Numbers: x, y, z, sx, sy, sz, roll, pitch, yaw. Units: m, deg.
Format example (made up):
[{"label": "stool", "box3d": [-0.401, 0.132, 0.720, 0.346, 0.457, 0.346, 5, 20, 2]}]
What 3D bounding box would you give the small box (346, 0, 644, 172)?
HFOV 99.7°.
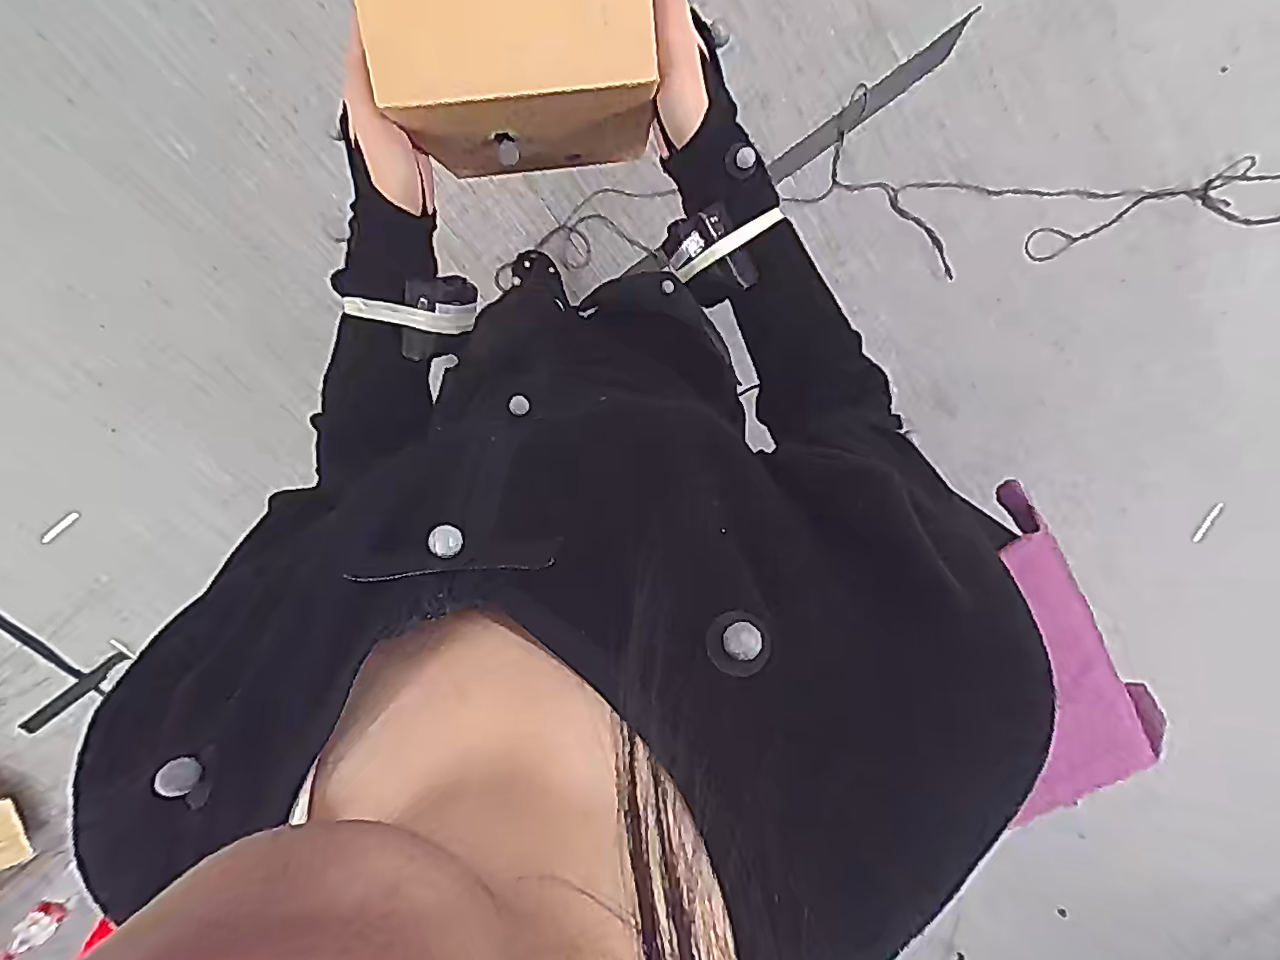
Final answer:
[{"label": "small box", "box3d": [-0.087, -0.326, 0.366, 0.168, 0.176, 0.179, -6, 105, -1]}]
